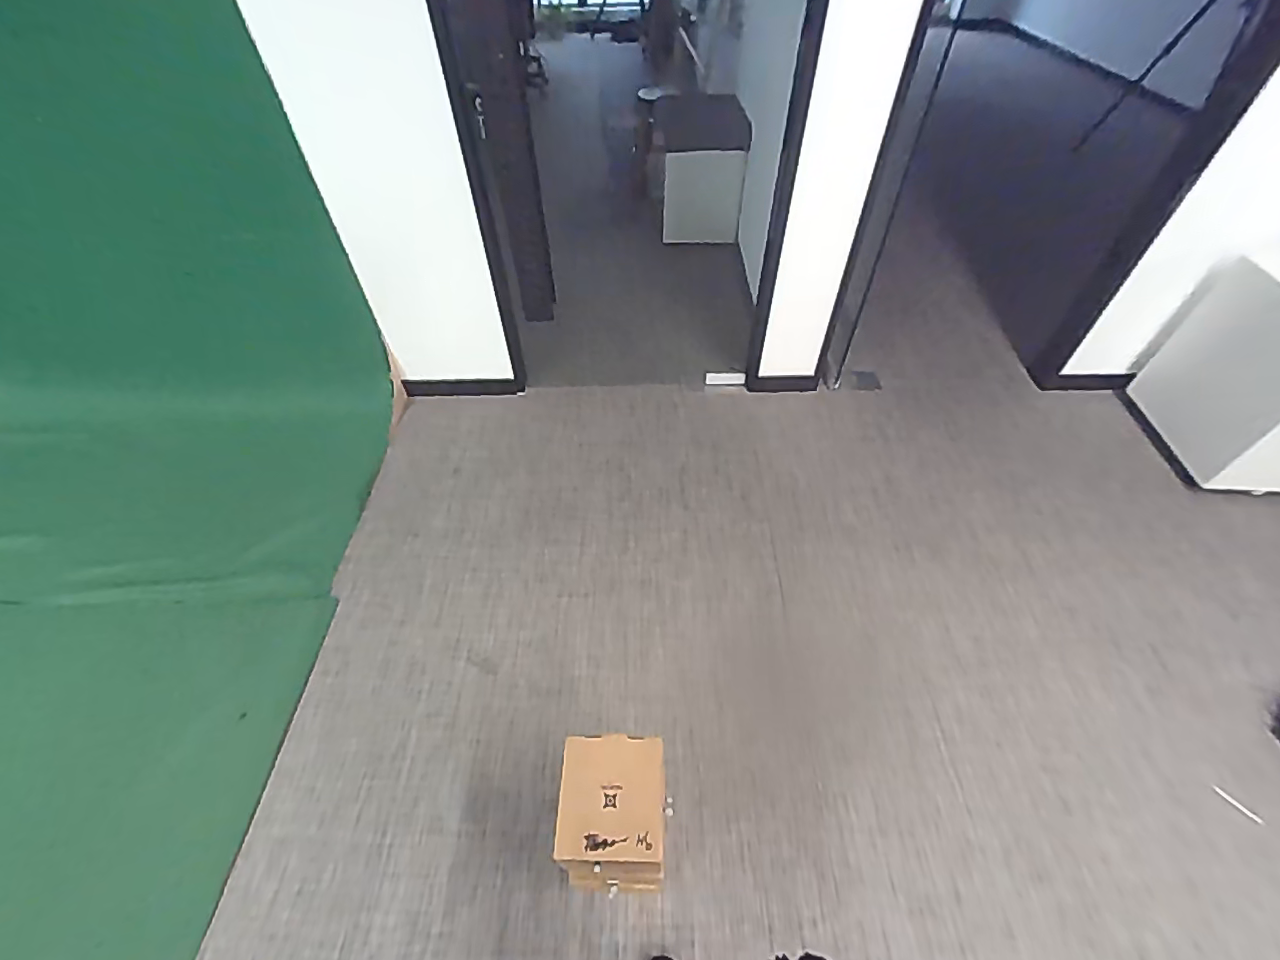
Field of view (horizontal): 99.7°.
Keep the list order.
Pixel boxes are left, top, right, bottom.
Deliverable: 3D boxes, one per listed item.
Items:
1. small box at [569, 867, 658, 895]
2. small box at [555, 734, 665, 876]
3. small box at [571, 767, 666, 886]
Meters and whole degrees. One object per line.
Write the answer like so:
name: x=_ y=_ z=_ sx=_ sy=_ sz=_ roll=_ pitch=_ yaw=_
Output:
small box: x=-0.047 y=0.776 z=1.157 sx=0.179 sy=0.176 sz=0.168 roll=1 pitch=49 yaw=3
small box: x=-0.042 y=0.553 z=0.921 sx=0.168 sy=0.176 sz=0.179 roll=0 pitch=48 yaw=2
small box: x=-0.034 y=0.664 z=1.042 sx=0.168 sy=0.176 sz=0.179 roll=0 pitch=49 yaw=3
